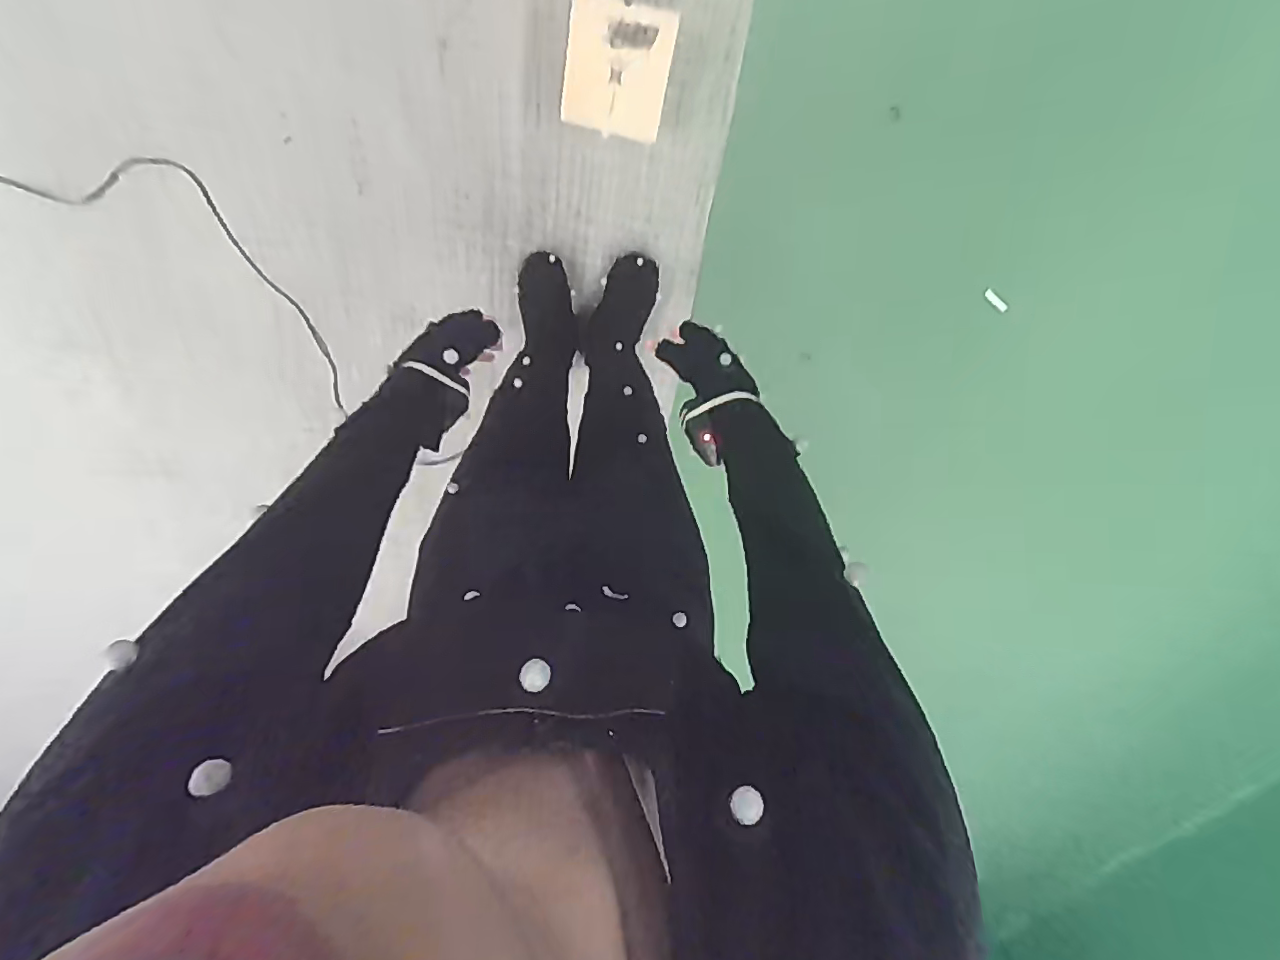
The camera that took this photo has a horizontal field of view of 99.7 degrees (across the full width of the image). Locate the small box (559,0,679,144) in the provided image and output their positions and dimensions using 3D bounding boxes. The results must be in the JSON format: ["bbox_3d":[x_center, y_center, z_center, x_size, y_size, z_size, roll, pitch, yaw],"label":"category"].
[{"bbox_3d":[-0.040,-0.700,0.924,0.168,0.176,0.179,9,125,-8],"label":"small box"}]
